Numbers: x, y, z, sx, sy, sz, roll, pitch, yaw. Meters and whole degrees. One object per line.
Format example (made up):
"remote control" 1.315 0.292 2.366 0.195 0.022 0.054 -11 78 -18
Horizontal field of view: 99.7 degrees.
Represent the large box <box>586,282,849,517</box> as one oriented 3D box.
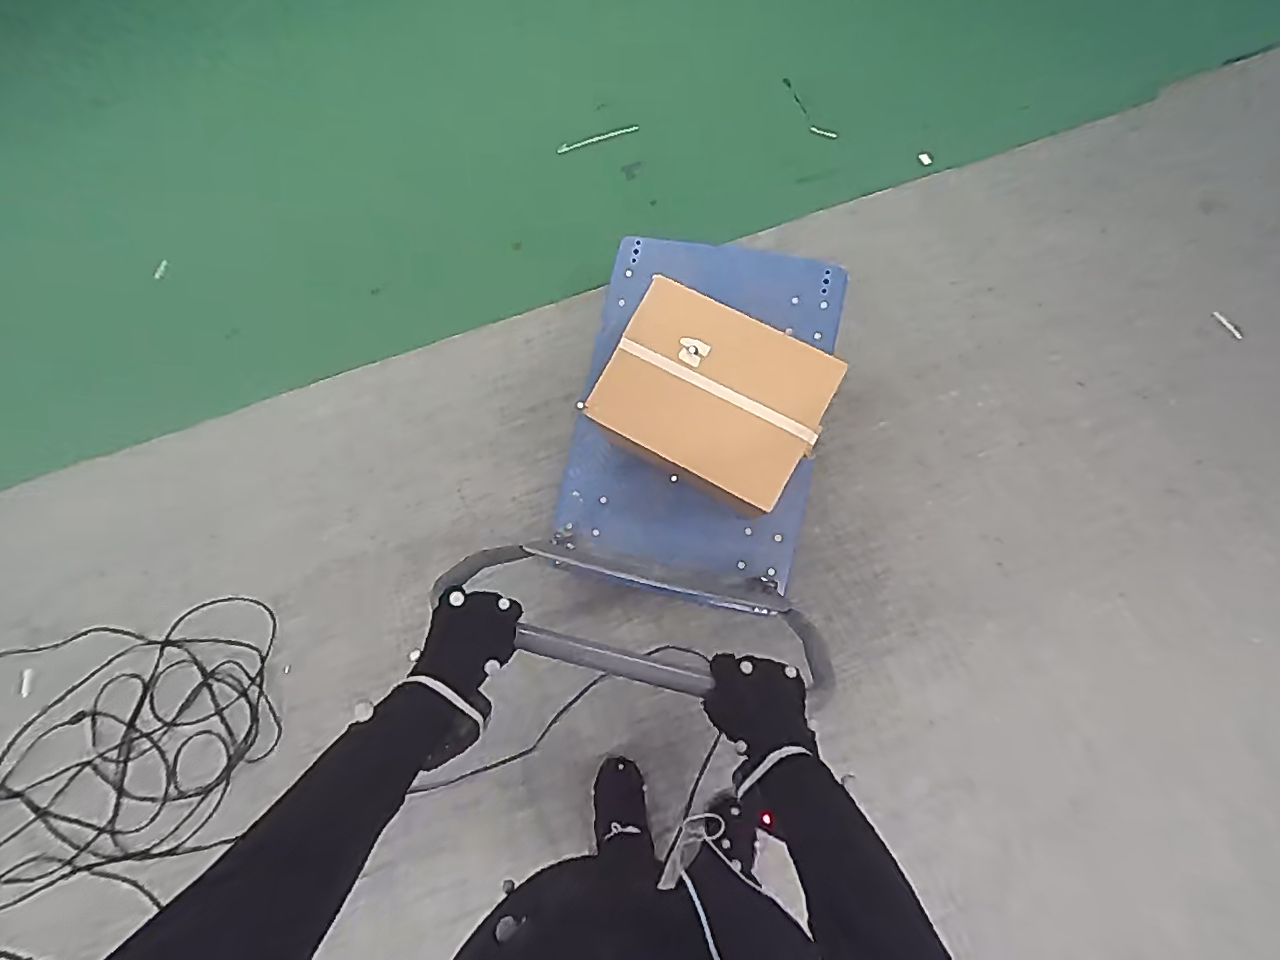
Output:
"large box" 0.161 -0.147 1.152 0.408 0.320 0.320 28 87 10
